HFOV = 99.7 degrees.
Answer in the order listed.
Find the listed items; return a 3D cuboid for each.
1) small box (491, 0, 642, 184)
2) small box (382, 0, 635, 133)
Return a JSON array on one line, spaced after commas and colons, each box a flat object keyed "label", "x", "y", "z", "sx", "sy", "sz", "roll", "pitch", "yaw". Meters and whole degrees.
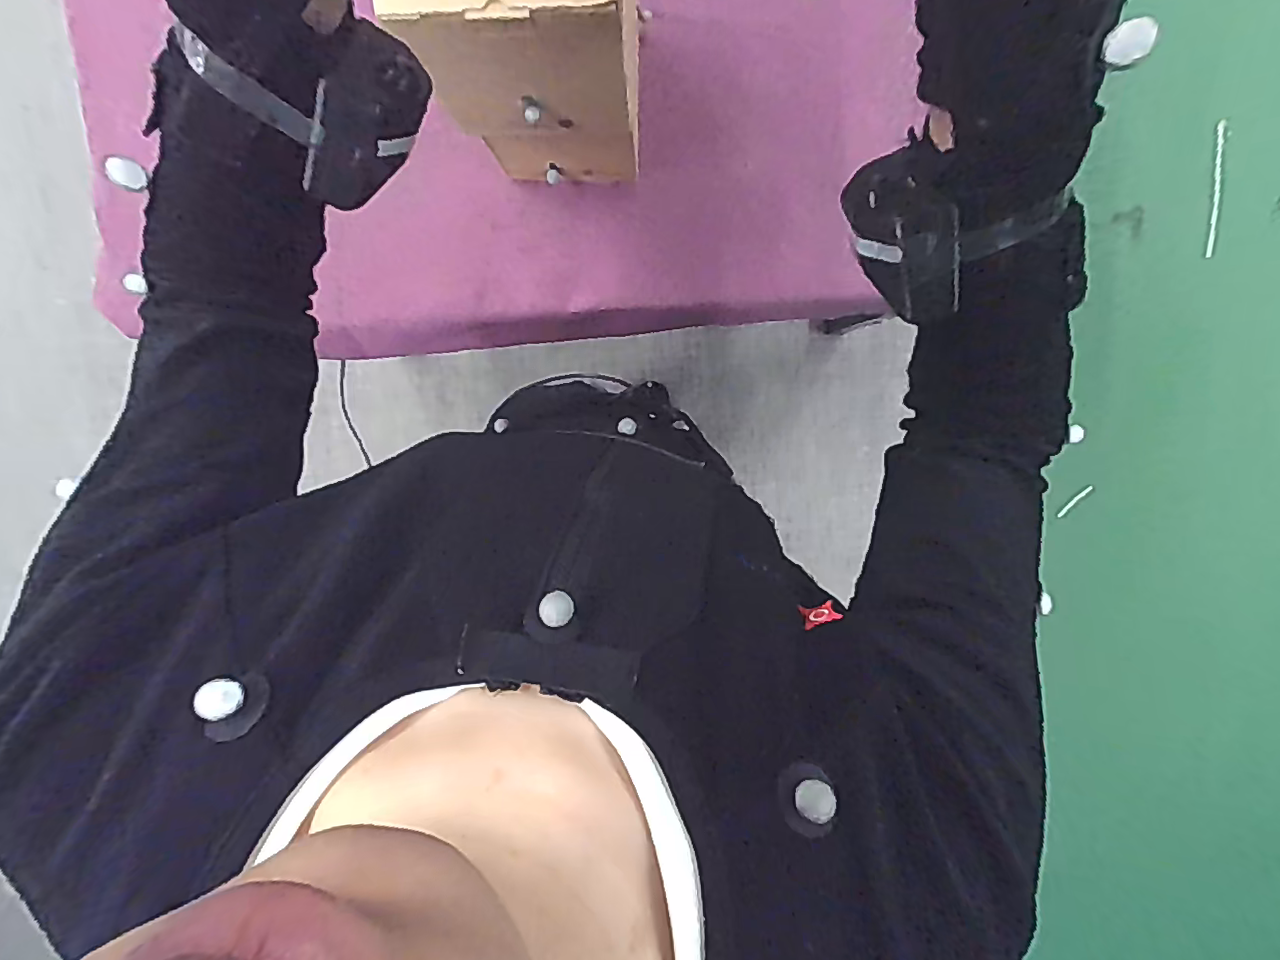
[{"label": "small box", "x": -0.083, "y": -0.451, "z": 0.590, "sx": 0.168, "sy": 0.176, "sz": 0.179, "roll": 1, "pitch": 99, "yaw": 2}, {"label": "small box", "x": -0.091, "y": -0.411, "z": 0.431, "sx": 0.168, "sy": 0.176, "sz": 0.179, "roll": 0, "pitch": 99, "yaw": 2}]
